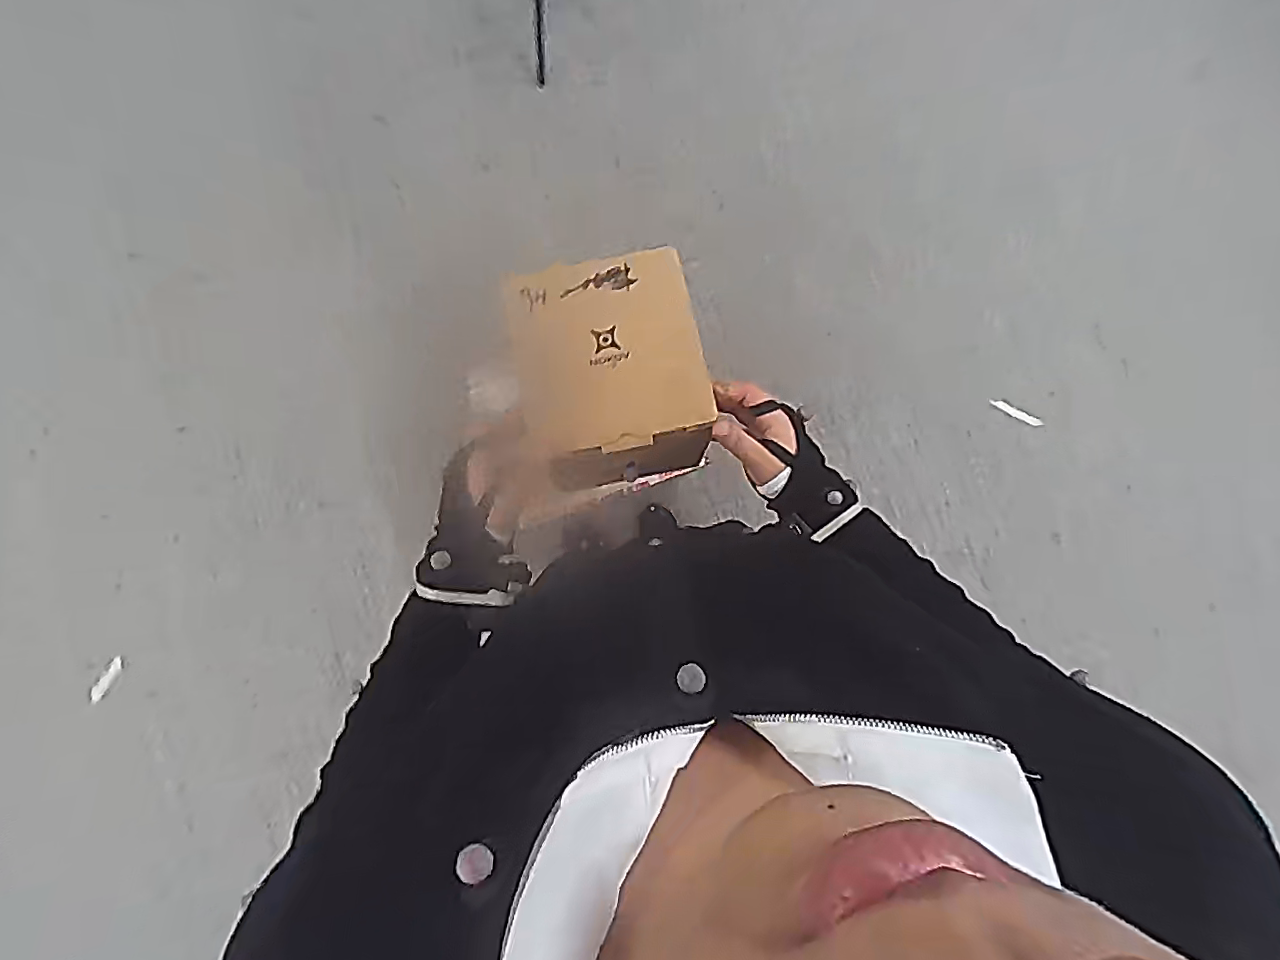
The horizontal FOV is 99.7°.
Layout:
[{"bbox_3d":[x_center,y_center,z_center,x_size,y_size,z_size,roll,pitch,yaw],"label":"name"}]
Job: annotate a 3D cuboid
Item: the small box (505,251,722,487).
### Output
[{"bbox_3d":[-0.024,-0.095,0.550,0.168,0.176,0.179,-12,81,-2],"label":"small box"}]
